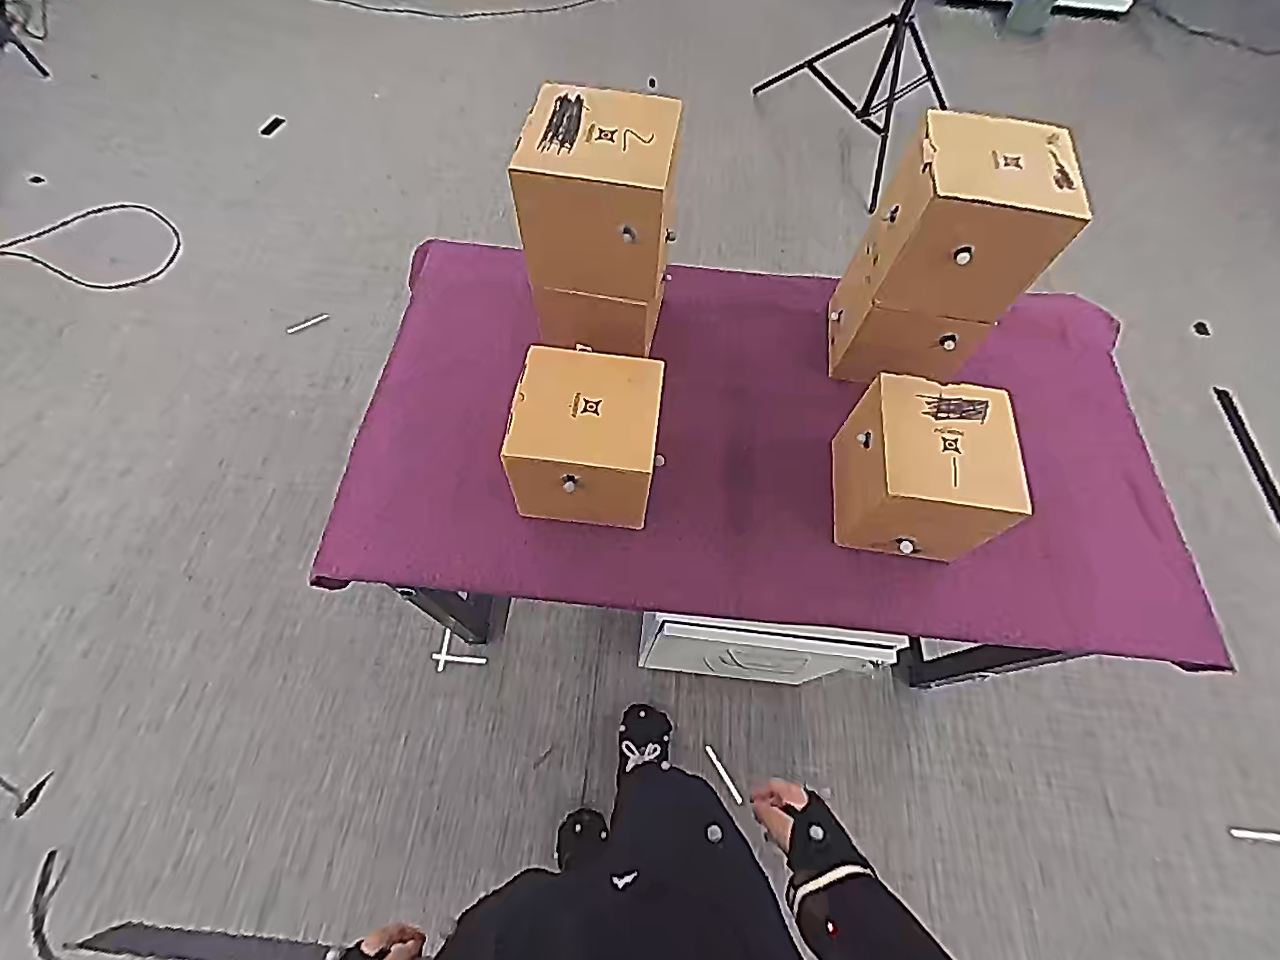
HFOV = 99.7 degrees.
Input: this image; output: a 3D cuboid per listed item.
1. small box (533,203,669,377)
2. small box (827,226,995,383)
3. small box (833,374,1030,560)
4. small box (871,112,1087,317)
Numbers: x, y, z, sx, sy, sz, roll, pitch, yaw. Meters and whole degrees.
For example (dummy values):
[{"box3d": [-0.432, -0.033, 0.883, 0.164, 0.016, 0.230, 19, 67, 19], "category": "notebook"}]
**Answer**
[{"box3d": [-0.054, -0.289, 0.840, 0.168, 0.176, 0.179, 10, 66, 4], "category": "small box"}, {"box3d": [0.410, -0.262, 0.848, 0.179, 0.176, 0.168, 8, 64, 2], "category": "small box"}, {"box3d": [0.367, -0.012, 0.719, 0.168, 0.176, 0.179, 8, 63, 2], "category": "small box"}, {"box3d": [0.415, -0.336, 0.701, 0.179, 0.176, 0.168, 9, 65, 3], "category": "small box"}]
